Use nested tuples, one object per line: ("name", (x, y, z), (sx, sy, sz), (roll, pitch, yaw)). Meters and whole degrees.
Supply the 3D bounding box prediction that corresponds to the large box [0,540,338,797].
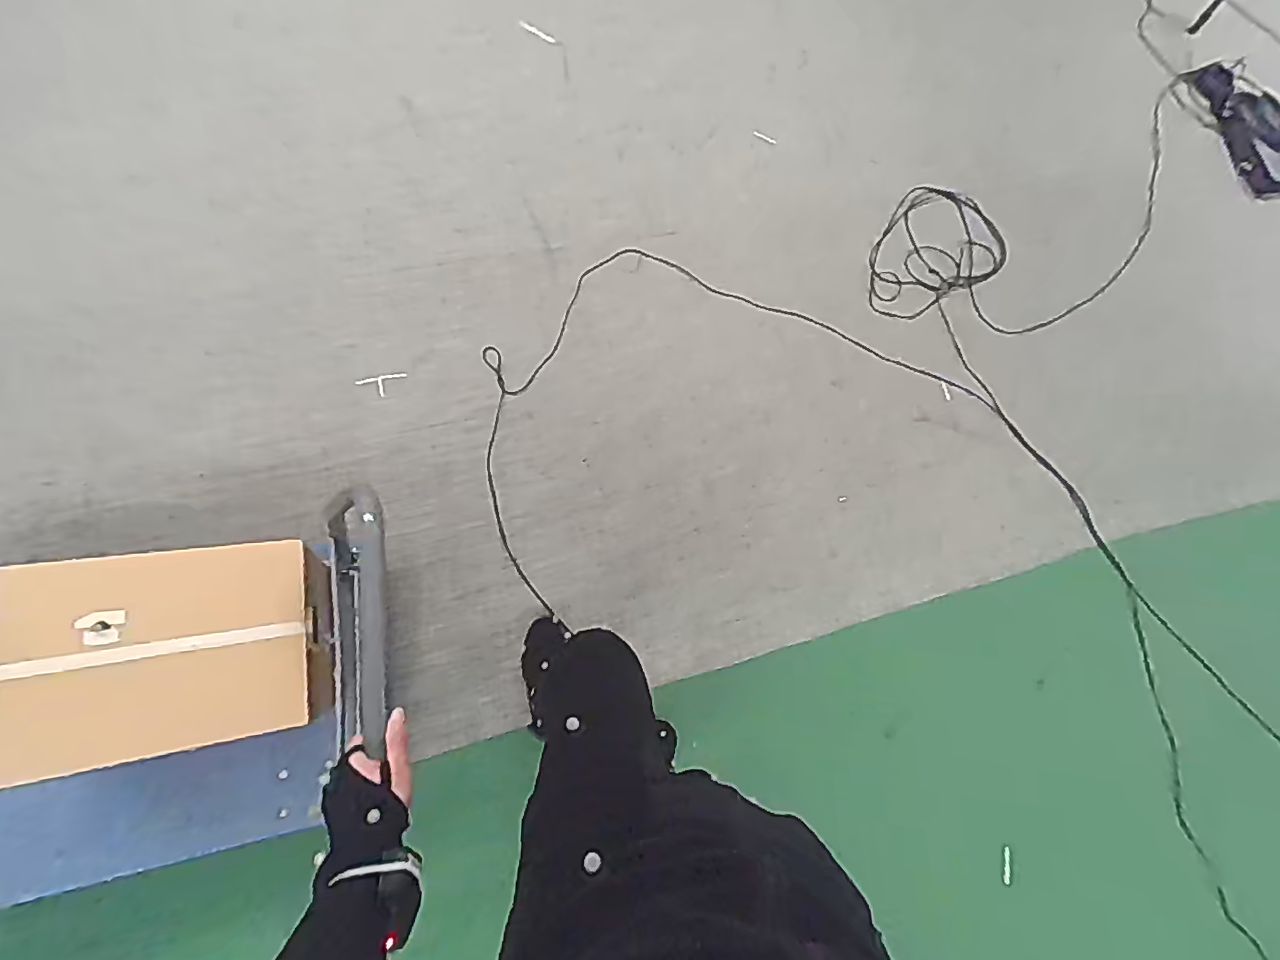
("large box", (-0.800, 0.309, 0.973), (0.408, 0.320, 0.320), (-5, 75, -24))
